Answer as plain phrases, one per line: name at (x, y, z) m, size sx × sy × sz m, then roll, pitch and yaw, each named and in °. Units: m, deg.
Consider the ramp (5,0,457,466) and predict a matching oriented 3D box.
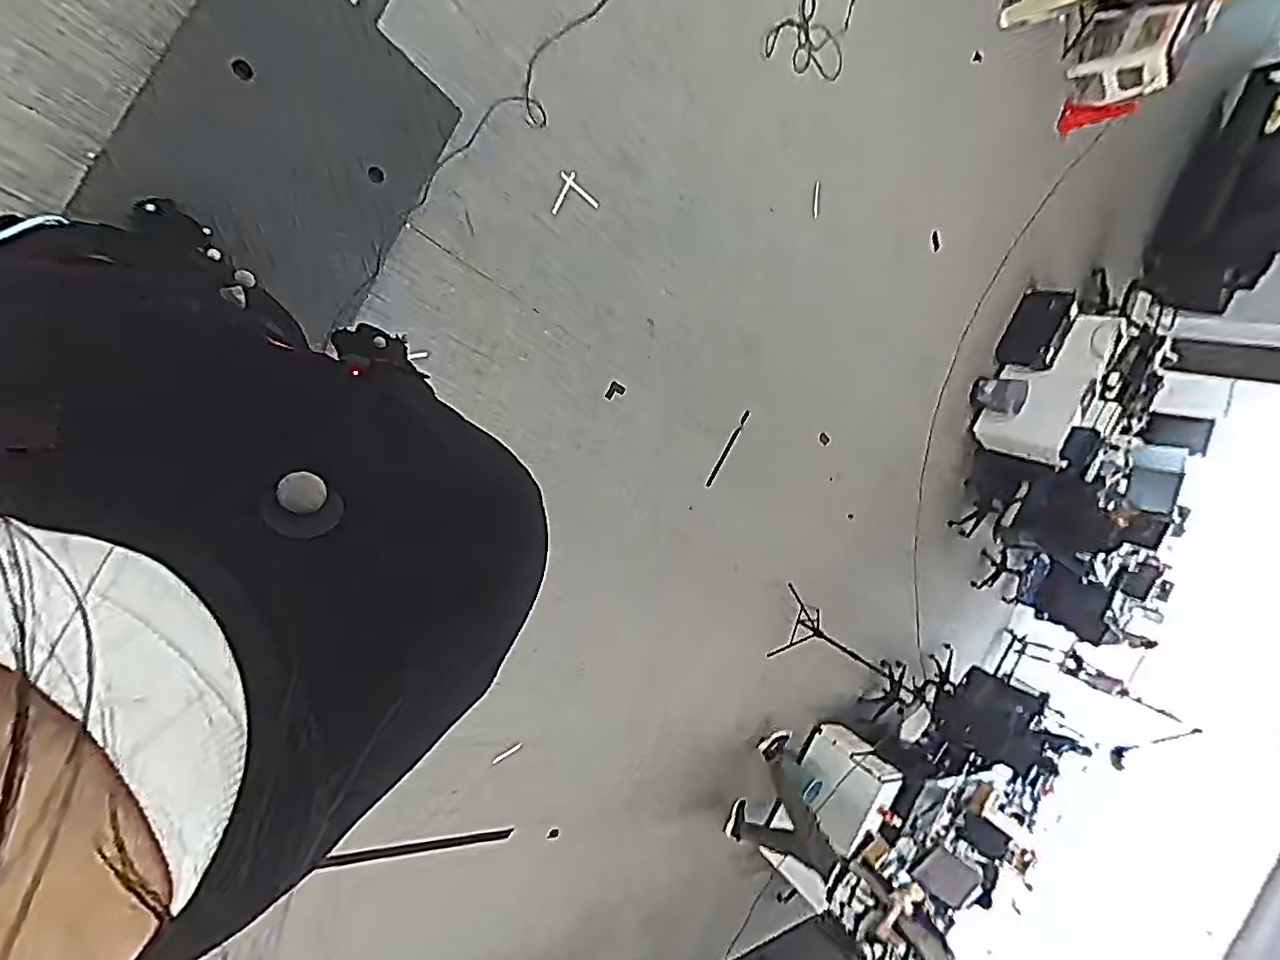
ramp at (-0.808, -0.575, 1.193) m, size 0.509 × 0.206 × 0.991 m, roll 26°, pitch 90°, yaw -41°
